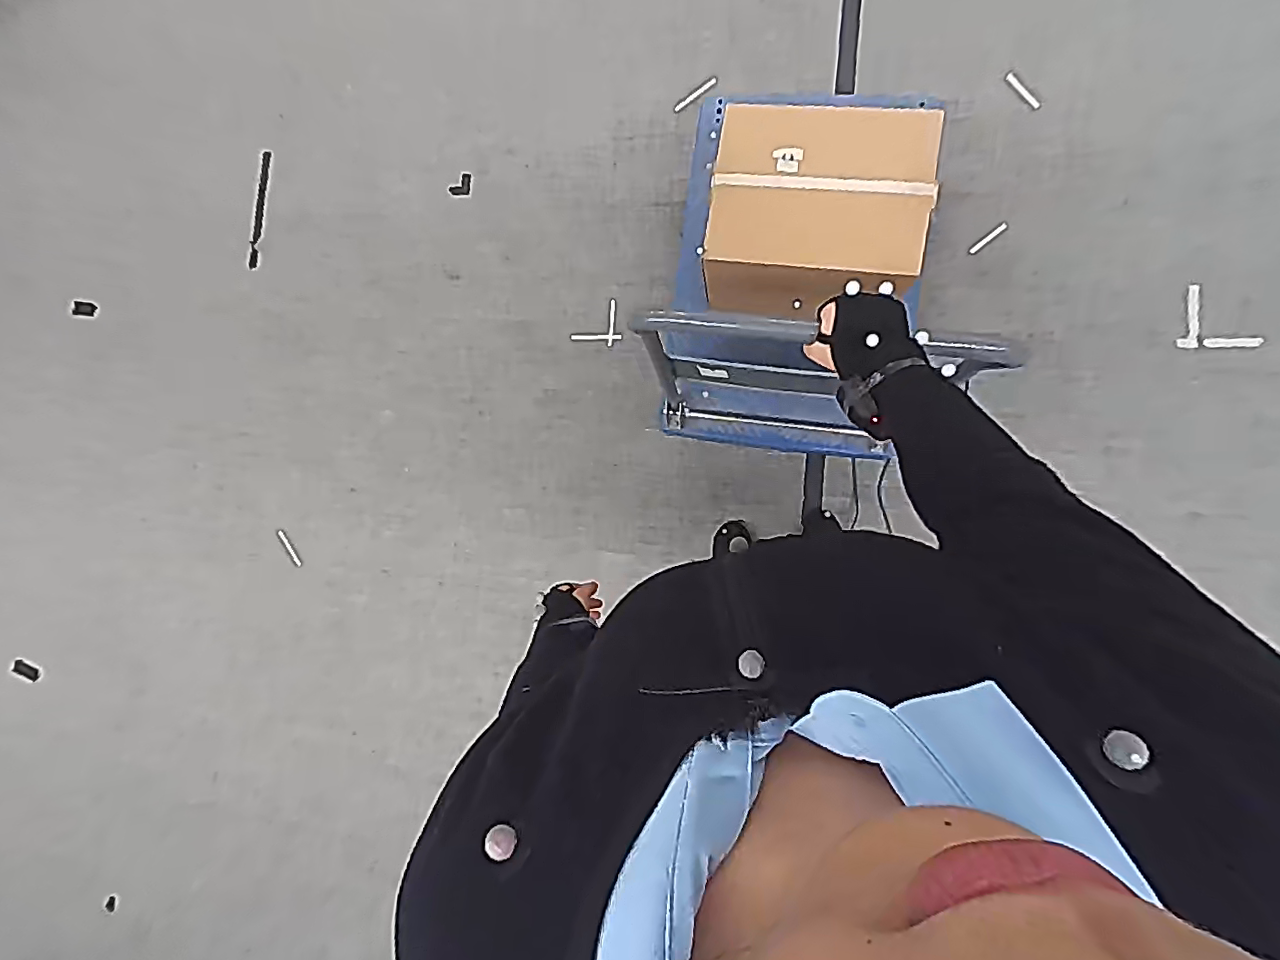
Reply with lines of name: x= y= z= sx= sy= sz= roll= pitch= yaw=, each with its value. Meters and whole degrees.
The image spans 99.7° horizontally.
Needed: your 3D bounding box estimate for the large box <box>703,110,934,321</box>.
large box: x=0.369 y=-0.556 z=1.188 sx=0.408 sy=0.320 sz=0.320 roll=8 pitch=88 yaw=12
